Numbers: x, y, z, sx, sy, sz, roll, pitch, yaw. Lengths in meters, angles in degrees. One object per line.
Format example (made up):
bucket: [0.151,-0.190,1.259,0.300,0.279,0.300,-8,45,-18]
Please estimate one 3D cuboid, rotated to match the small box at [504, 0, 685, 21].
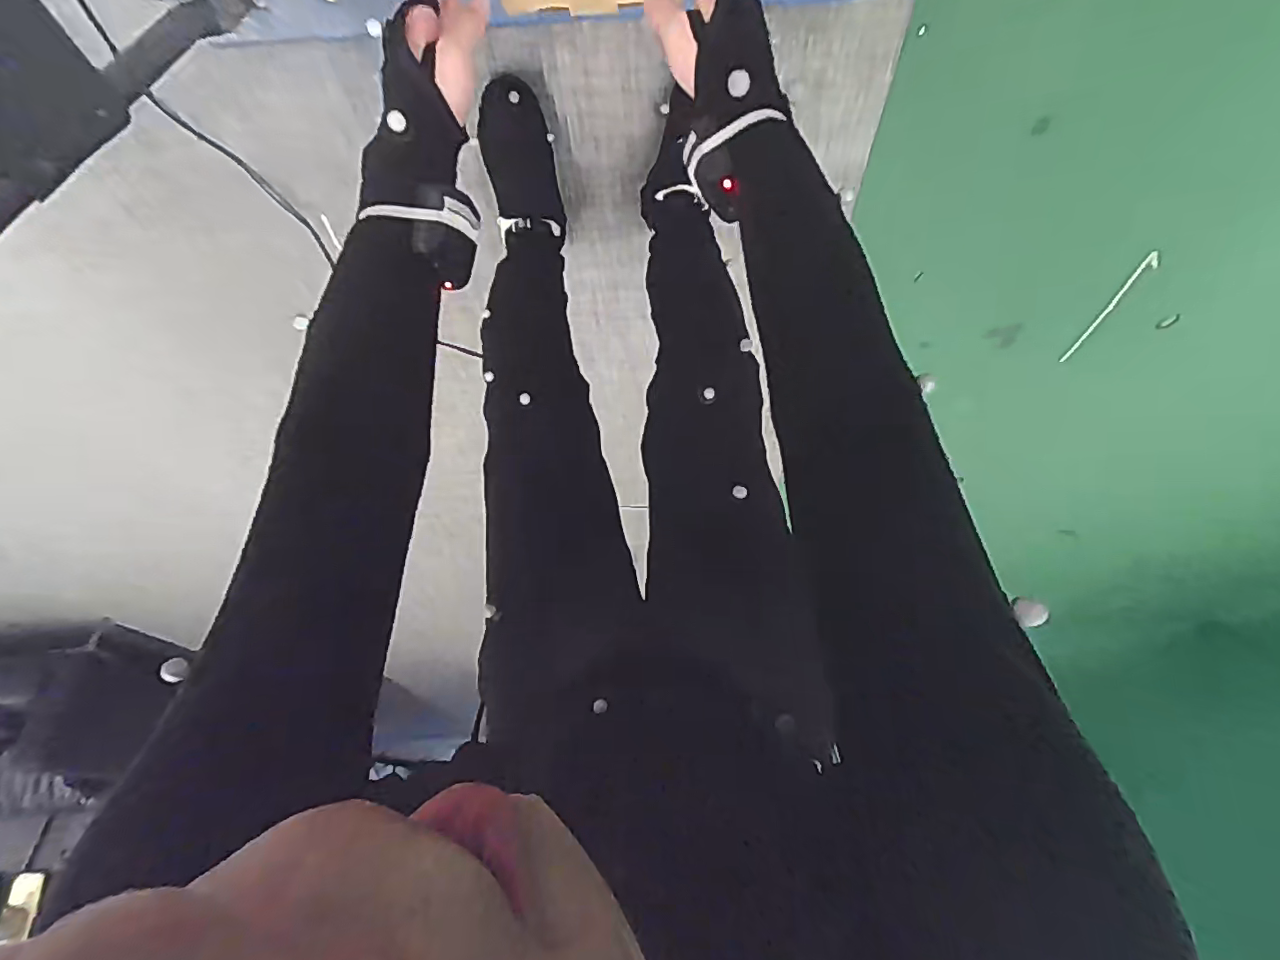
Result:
small box: [-0.043,-0.535,0.460,0.168,0.176,0.179,-3,148,1]
